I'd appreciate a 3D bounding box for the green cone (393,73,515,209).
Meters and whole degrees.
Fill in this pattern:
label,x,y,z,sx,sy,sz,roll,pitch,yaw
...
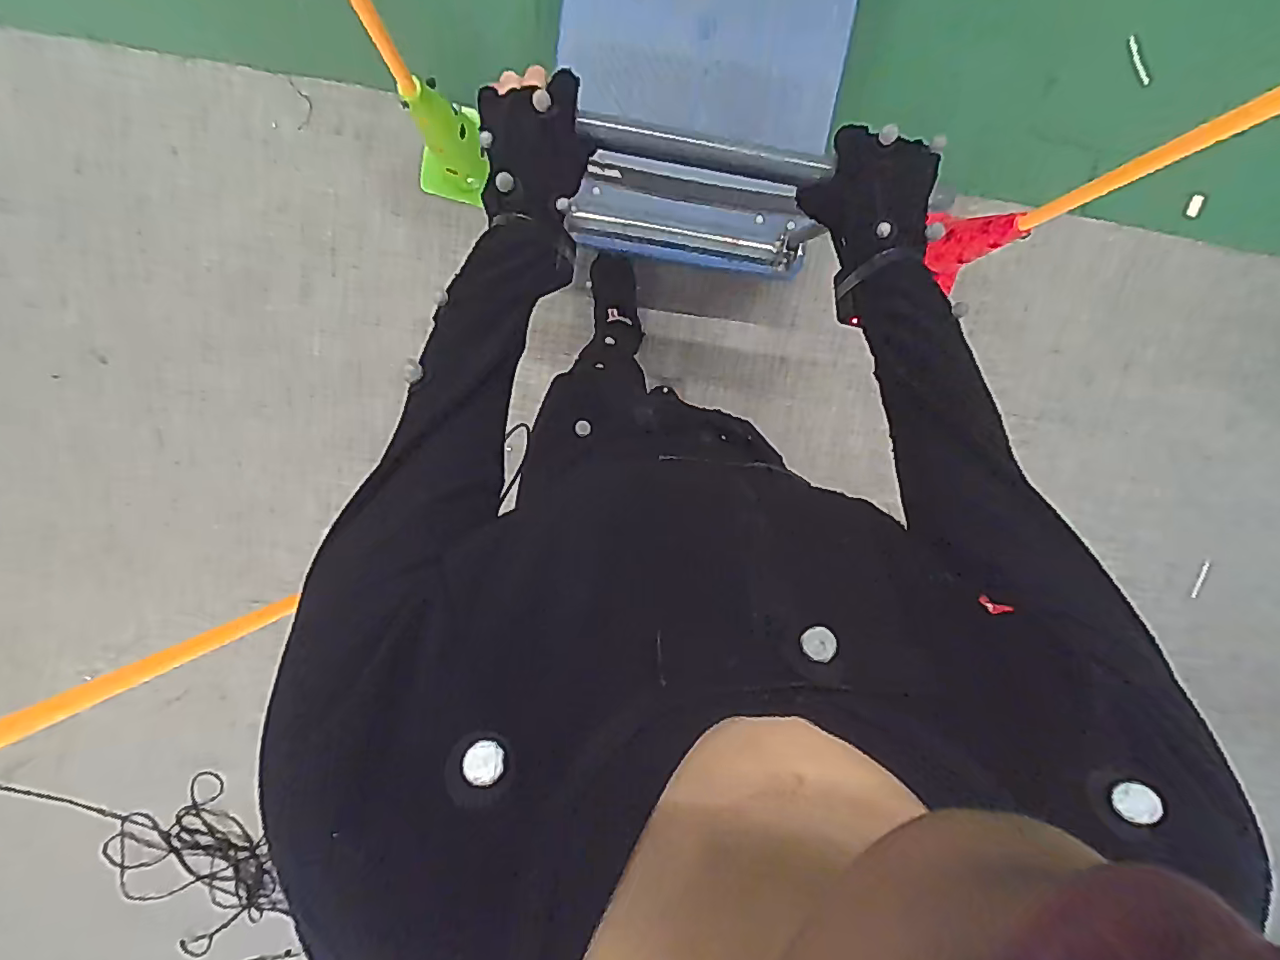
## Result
label,x,y,z,sx,sy,sz,roll,pitch,yaw
green cone,-0.405,-0.728,1.111,0.202,0.368,0.200,13,102,-4
